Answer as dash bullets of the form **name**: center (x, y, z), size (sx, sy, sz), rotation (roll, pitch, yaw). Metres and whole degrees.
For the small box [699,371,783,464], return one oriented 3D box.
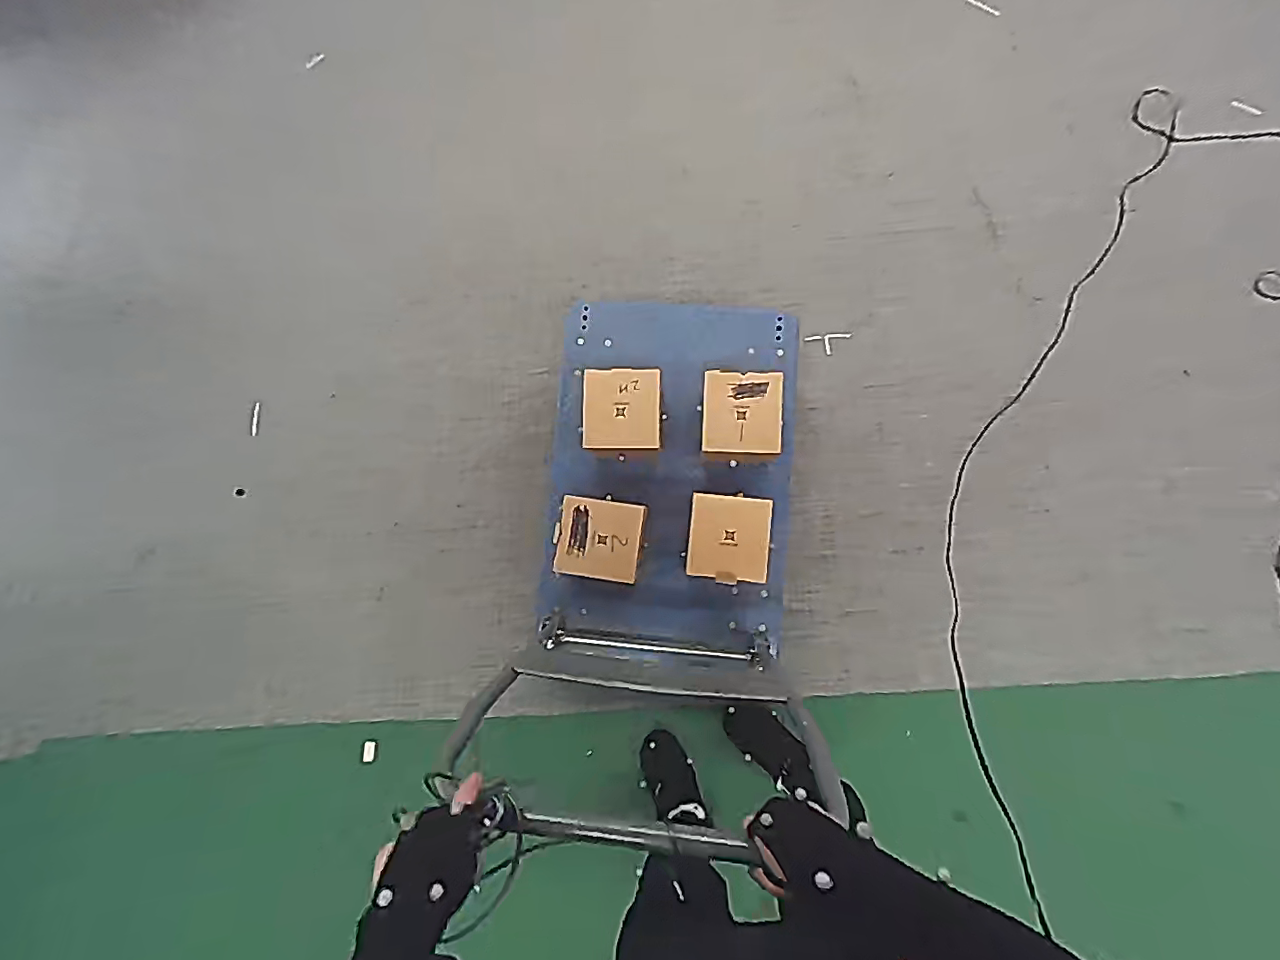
- **small box**: center (0.221, -0.134, 1.211), size (0.168, 0.176, 0.179), rotation (2, 86, 5)

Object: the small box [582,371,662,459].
- **small box**: center (-0.035, -0.141, 1.232), size (0.168, 0.176, 0.179), rotation (0, 85, 4)

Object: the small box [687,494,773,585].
- **small box**: center (0.192, 0.129, 1.194), size (0.168, 0.176, 0.179), rotation (5, 86, 5)
